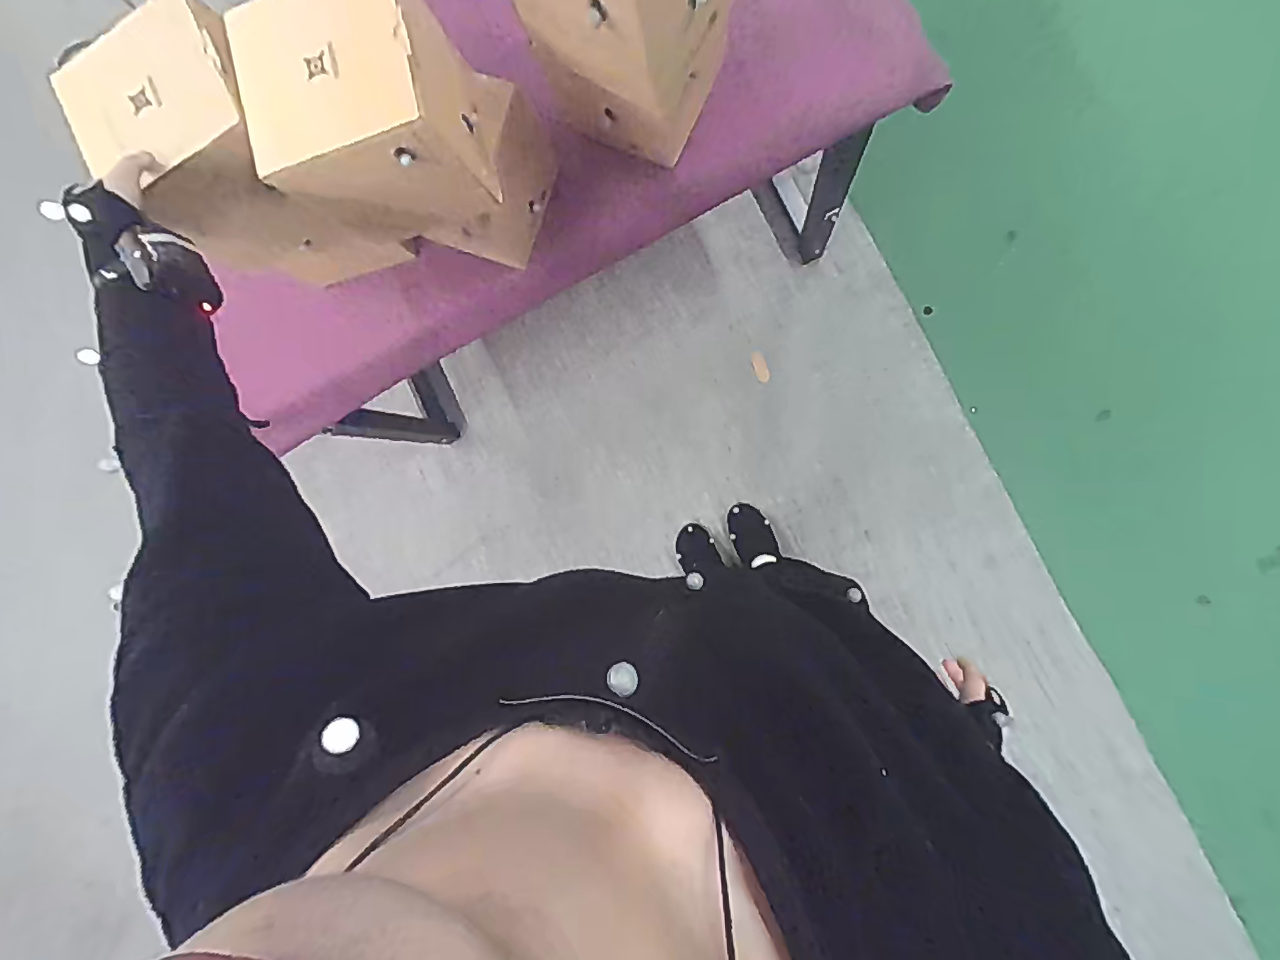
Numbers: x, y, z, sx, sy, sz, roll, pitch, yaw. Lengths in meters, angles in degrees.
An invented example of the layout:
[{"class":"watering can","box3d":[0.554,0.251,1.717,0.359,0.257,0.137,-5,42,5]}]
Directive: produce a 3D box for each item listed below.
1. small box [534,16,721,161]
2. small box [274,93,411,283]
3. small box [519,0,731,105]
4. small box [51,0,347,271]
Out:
[{"class":"small box","box3d":[-0.003,-0.552,0.689,0.168,0.176,0.179,26,96,9]},{"class":"small box","box3d":[-0.458,-0.399,0.772,0.179,0.176,0.168,-9,88,4]},{"class":"small box","box3d":[-0.016,-0.514,0.523,0.179,0.176,0.168,34,96,9]},{"class":"small box","box3d":[-0.467,-0.372,0.606,0.179,0.176,0.168,-29,86,9]}]
